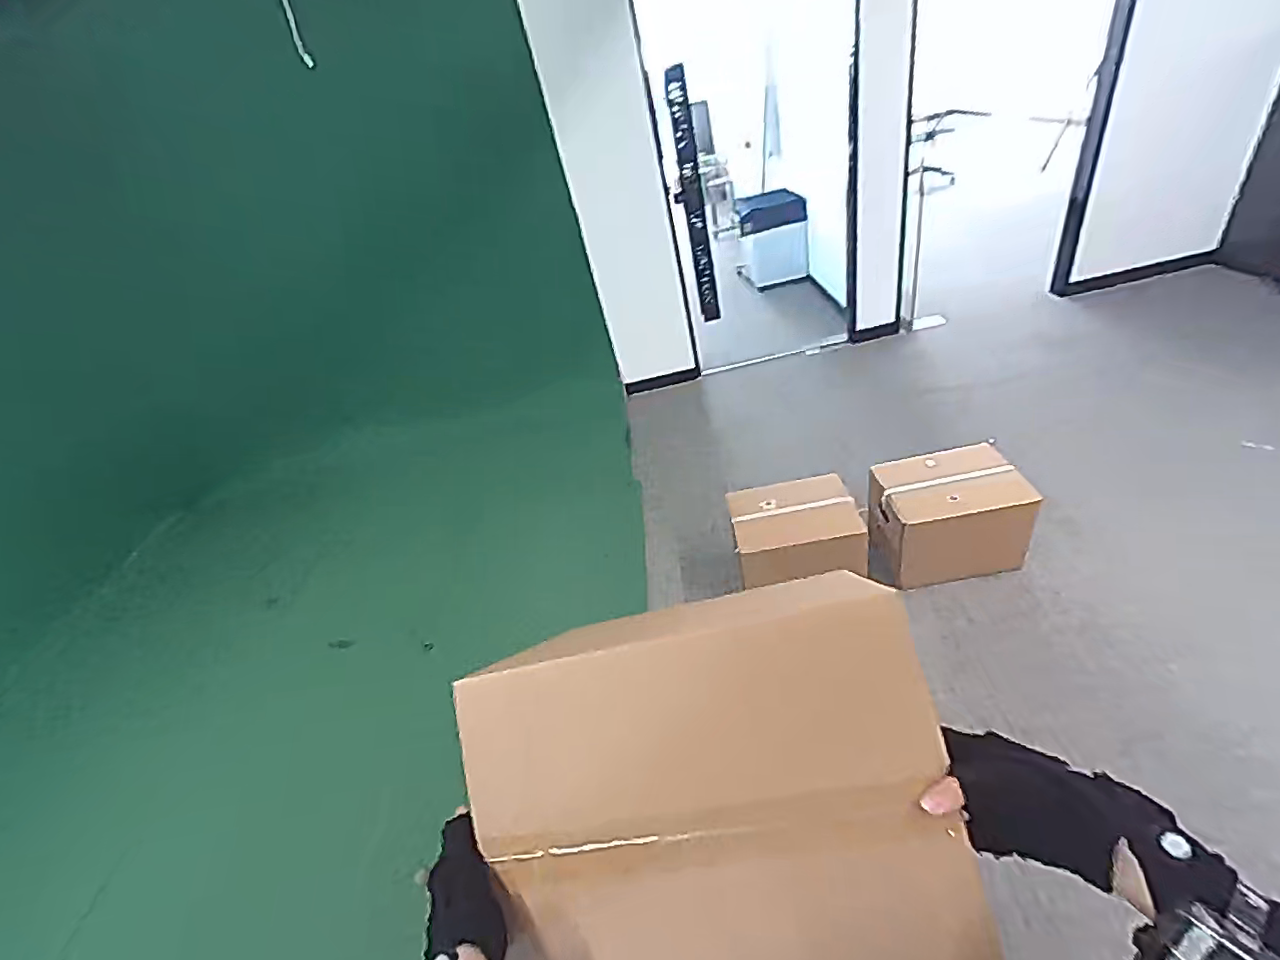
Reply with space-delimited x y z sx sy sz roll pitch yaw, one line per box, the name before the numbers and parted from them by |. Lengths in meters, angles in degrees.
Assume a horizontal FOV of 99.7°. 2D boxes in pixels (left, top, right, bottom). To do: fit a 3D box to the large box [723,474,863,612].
large box | 0.532 0.225 1.906 0.408 0.320 0.320 -12 36 7
